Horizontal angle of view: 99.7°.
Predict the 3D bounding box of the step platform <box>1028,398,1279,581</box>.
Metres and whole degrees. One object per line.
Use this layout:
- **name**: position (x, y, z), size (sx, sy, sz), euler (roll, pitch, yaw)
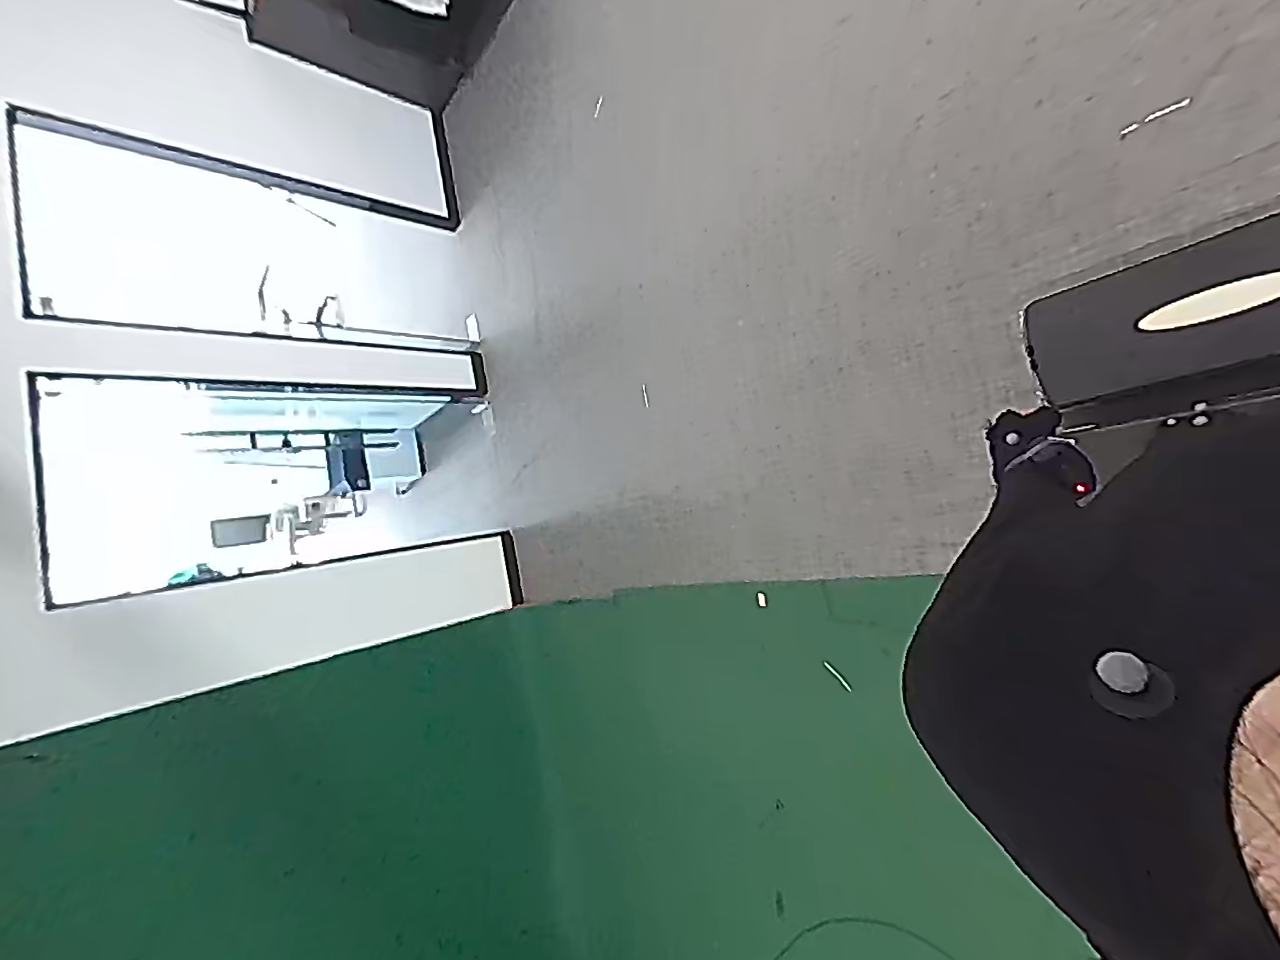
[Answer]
- **step platform**: position (1.100, -0.001, 0.924), size (0.684, 0.204, 0.286), euler (-16, 82, 46)
